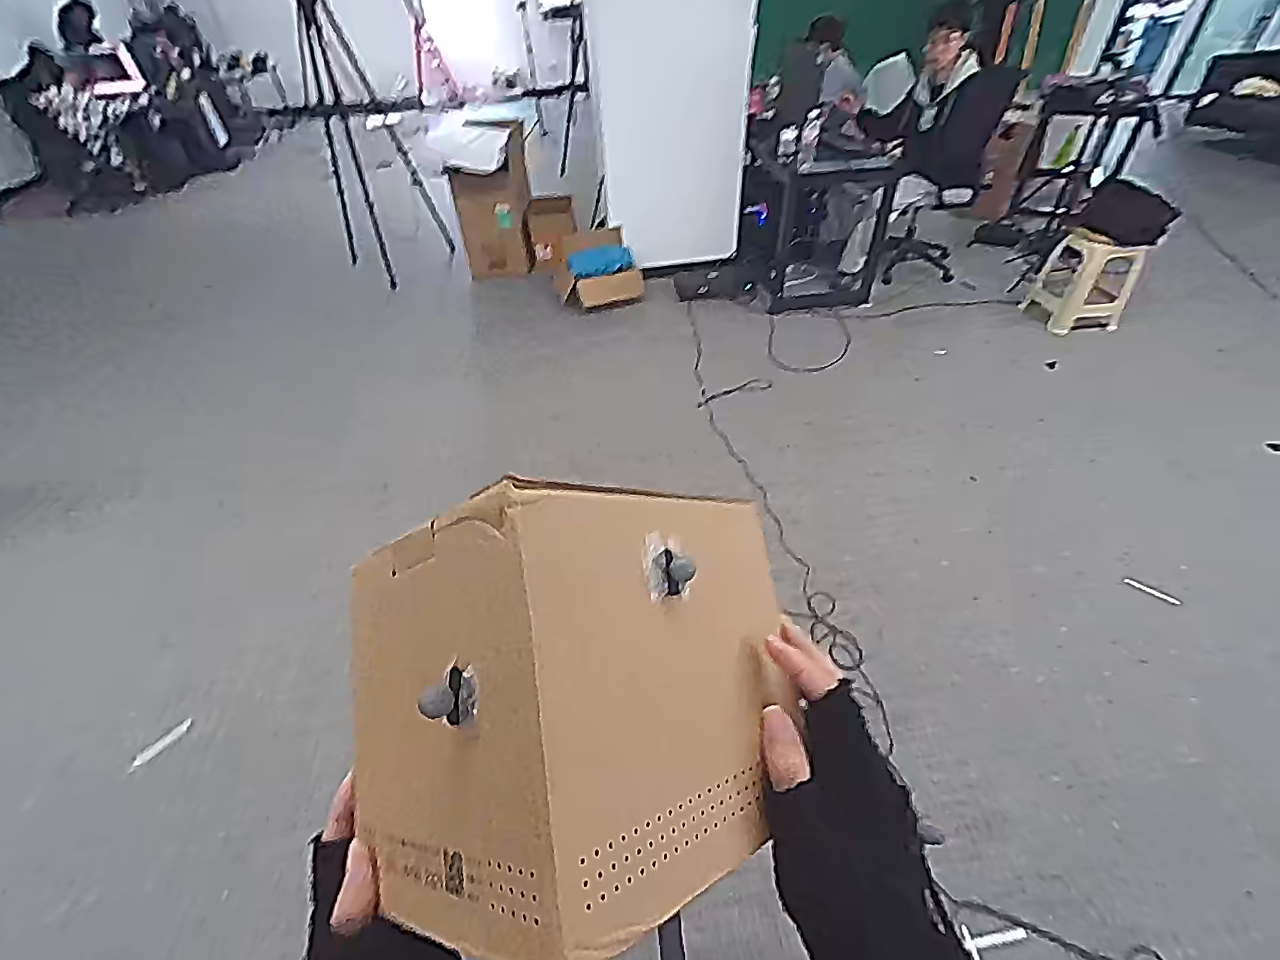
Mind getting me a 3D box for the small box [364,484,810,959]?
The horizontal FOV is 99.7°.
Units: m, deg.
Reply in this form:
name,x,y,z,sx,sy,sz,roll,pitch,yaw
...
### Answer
name,x,y,z,sx,sy,sz,roll,pitch,yaw
small box,-0.028,0.113,0.298,0.168,0.179,0.176,-23,69,39
